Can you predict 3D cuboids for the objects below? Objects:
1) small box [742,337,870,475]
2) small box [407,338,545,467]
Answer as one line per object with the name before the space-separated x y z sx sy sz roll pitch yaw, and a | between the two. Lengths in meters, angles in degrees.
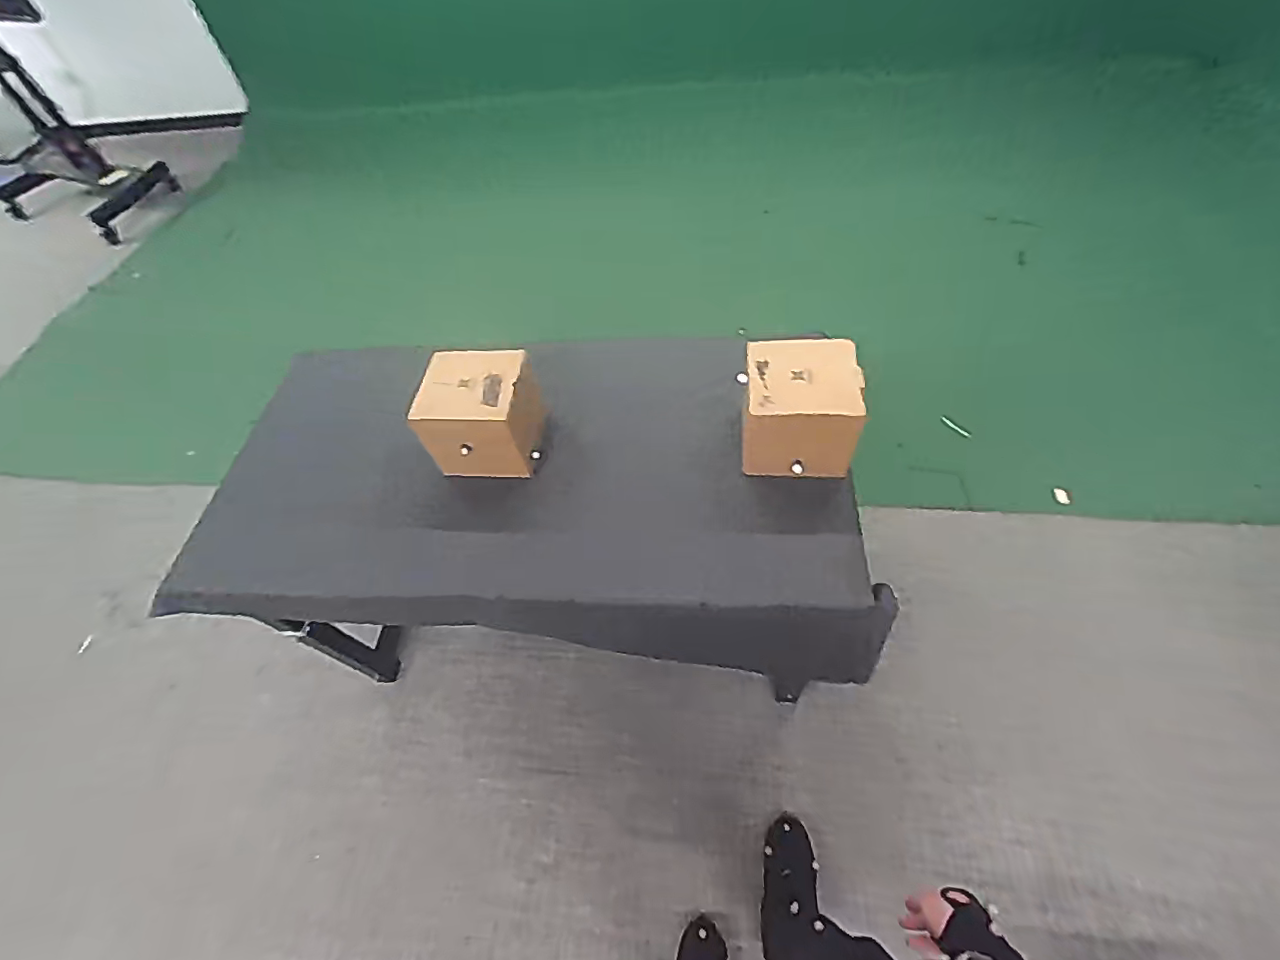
small box | 0.273 -0.123 0.928 0.179 0.176 0.168 3 56 7
small box | -0.283 -0.137 0.984 0.179 0.176 0.168 3 55 7
